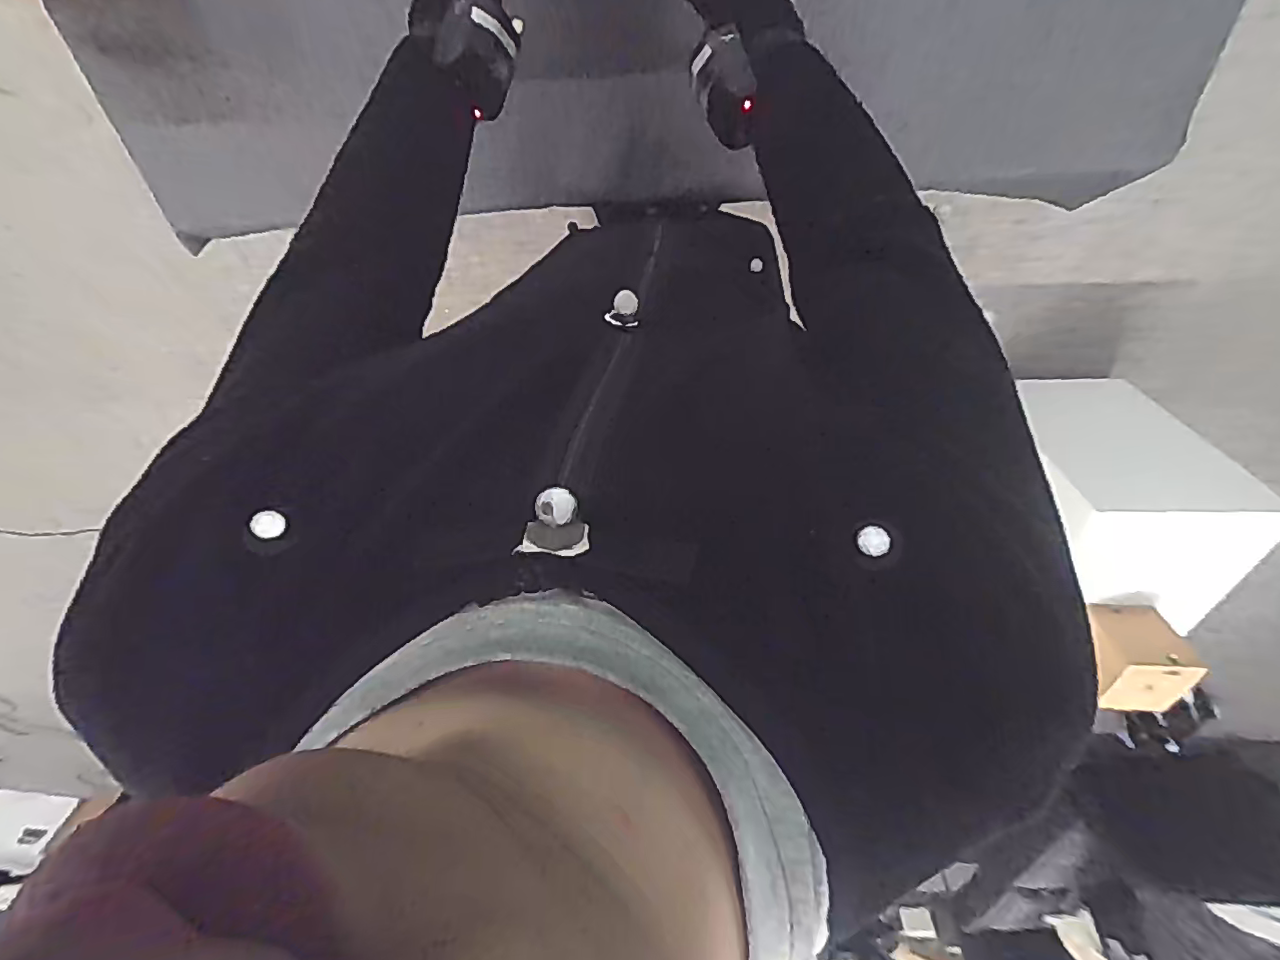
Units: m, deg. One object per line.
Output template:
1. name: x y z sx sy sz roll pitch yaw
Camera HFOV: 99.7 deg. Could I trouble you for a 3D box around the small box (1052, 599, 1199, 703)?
1. small box: 1.130 0.406 1.283 0.168 0.176 0.179 1 129 1
